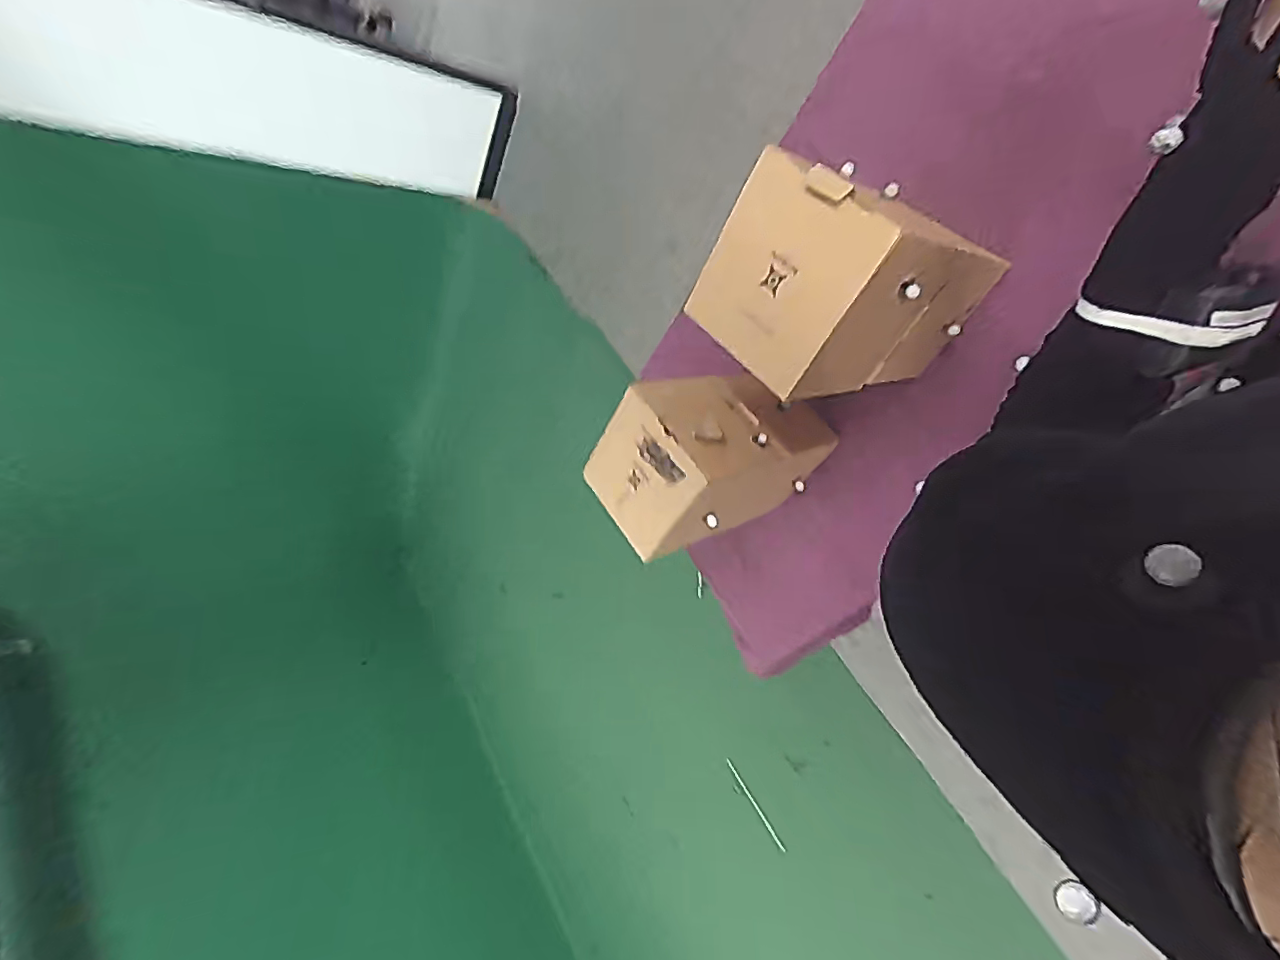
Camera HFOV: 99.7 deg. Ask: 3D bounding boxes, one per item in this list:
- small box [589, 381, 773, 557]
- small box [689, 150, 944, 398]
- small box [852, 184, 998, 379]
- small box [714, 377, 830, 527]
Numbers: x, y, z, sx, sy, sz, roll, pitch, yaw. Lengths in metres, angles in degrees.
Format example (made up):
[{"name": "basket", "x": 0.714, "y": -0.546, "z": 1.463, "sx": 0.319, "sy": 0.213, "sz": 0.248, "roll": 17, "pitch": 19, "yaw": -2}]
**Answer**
[{"name": "small box", "x": 0.062, "y": -0.024, "z": 0.769, "sx": 0.168, "sy": 0.176, "sz": 0.179, "roll": 53, "pitch": 134, "yaw": 22}, {"name": "small box", "x": 0.192, "y": -0.213, "z": 0.582, "sx": 0.168, "sy": 0.176, "sz": 0.179, "roll": 51, "pitch": 133, "yaw": 25}, {"name": "small box", "x": 0.308, "y": -0.248, "z": 0.692, "sx": 0.179, "sy": 0.176, "sz": 0.168, "roll": 48, "pitch": 132, "yaw": 25}, {"name": "small box", "x": 0.180, "y": -0.054, "z": 0.881, "sx": 0.168, "sy": 0.176, "sz": 0.179, "roll": 53, "pitch": 133, "yaw": 23}]
